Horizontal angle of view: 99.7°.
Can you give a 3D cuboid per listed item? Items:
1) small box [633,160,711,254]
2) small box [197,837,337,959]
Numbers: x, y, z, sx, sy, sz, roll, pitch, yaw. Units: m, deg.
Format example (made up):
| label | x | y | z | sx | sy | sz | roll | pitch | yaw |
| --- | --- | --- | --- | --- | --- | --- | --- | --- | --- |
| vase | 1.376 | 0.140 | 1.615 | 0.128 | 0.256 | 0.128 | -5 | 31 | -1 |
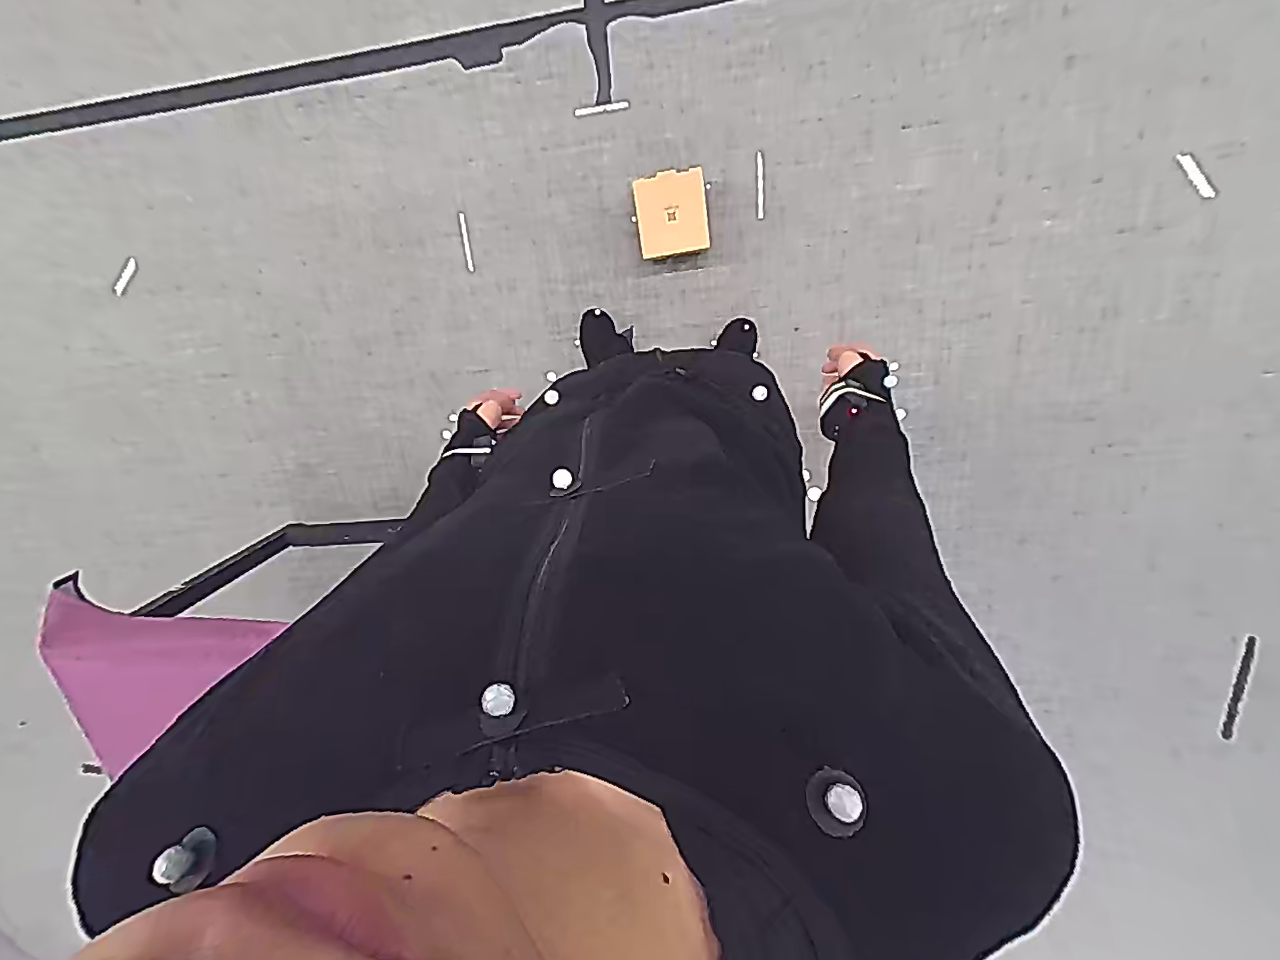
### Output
| label | x | y | z | sx | sy | sz | roll | pitch | yaw |
| --- | --- | --- | --- | --- | --- | --- | --- | --- | --- |
| small box | 0.085 | -0.665 | 1.337 | 0.168 | 0.176 | 0.179 | -7 | 109 | 9 |
| small box | -0.851 | 0.973 | 1.256 | 0.168 | 0.176 | 0.179 | -14 | 107 | 11 |
